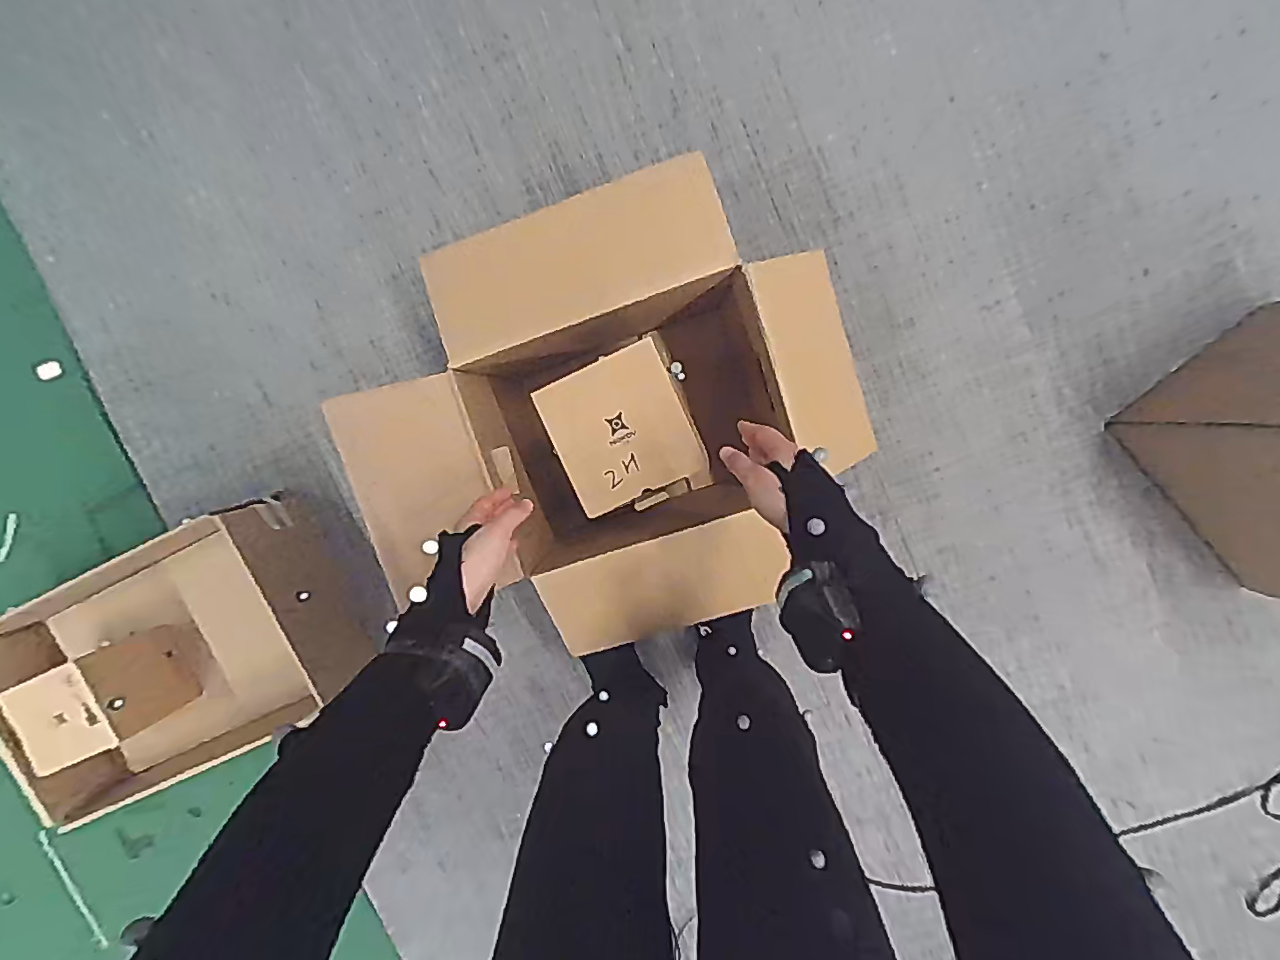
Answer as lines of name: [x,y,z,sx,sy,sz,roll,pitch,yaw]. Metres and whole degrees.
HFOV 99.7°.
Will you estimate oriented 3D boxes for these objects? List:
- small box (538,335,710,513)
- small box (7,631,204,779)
small box: [-0.014,-0.076,0.748,0.168,0.176,0.179,-24,95,9]
small box: [-0.989,0.412,1.016,0.179,0.176,0.168,-24,94,6]
